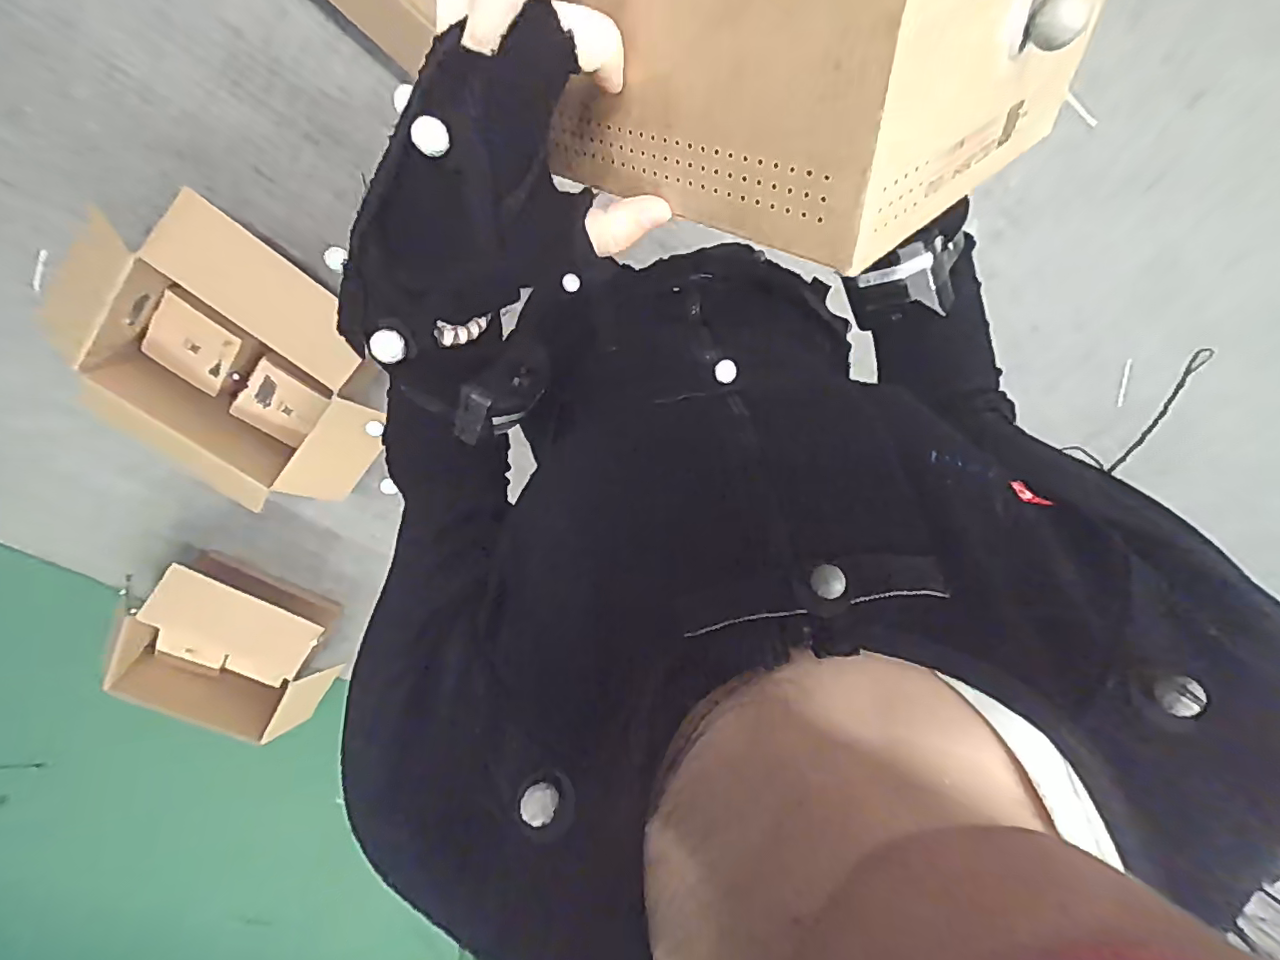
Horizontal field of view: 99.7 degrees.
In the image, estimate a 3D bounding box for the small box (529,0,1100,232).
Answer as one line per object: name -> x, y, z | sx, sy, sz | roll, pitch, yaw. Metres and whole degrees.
small box -> 0.062, -0.214, 0.196 | 0.168, 0.179, 0.176 | -38, 146, -24
